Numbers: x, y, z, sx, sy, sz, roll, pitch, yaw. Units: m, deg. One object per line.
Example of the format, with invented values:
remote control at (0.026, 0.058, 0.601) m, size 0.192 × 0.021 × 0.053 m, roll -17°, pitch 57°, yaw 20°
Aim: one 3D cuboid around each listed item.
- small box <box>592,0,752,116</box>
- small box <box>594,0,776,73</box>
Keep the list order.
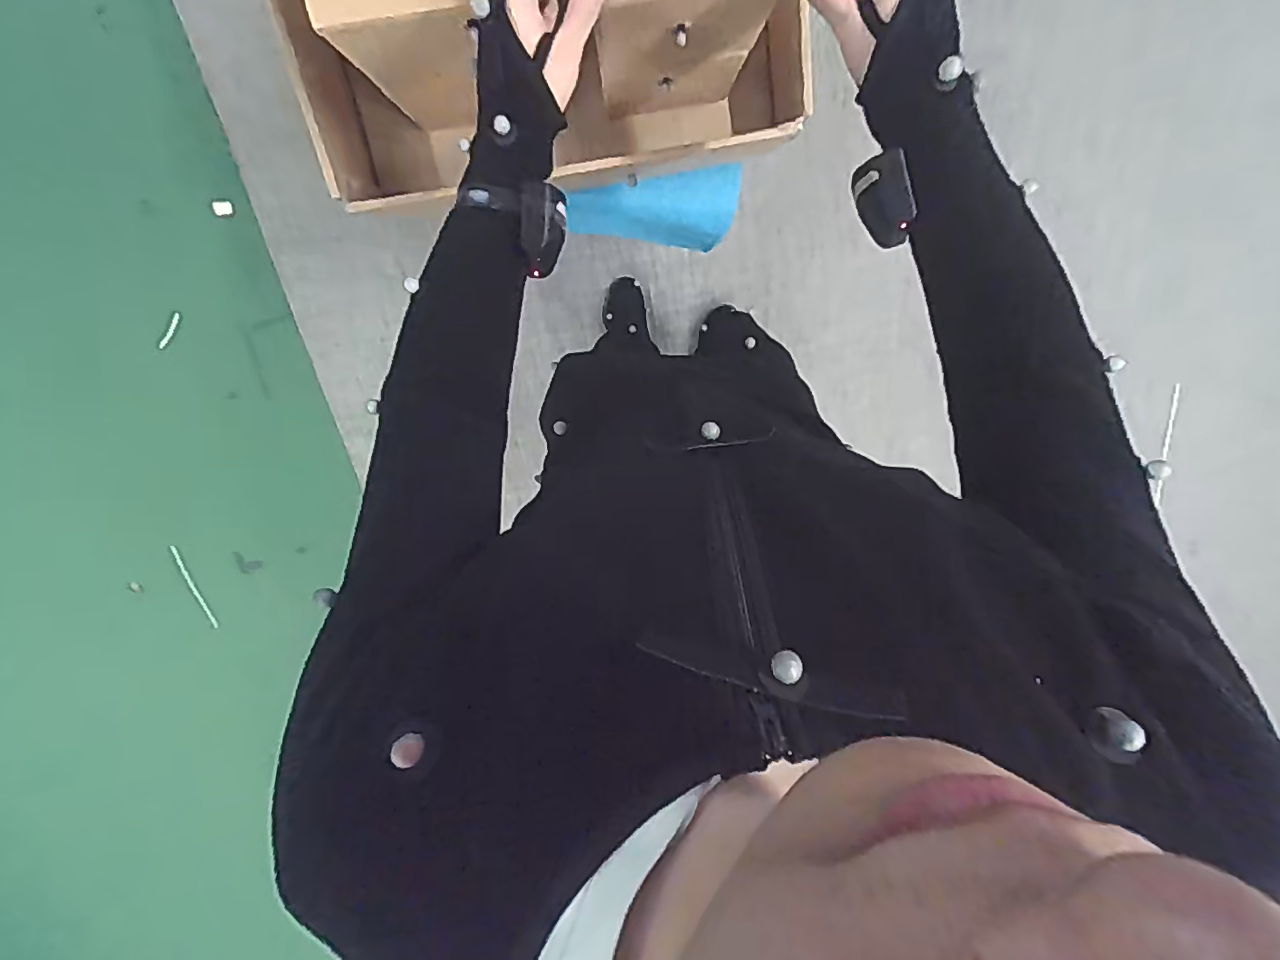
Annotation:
small box at (0.032, -0.577, 0.669) m, size 0.179 × 0.176 × 0.168 m, roll -8°, pitch 109°, yaw 2°
small box at (0.036, -0.525, 0.513) m, size 0.179 × 0.176 × 0.168 m, roll -9°, pitch 109°, yaw 3°
